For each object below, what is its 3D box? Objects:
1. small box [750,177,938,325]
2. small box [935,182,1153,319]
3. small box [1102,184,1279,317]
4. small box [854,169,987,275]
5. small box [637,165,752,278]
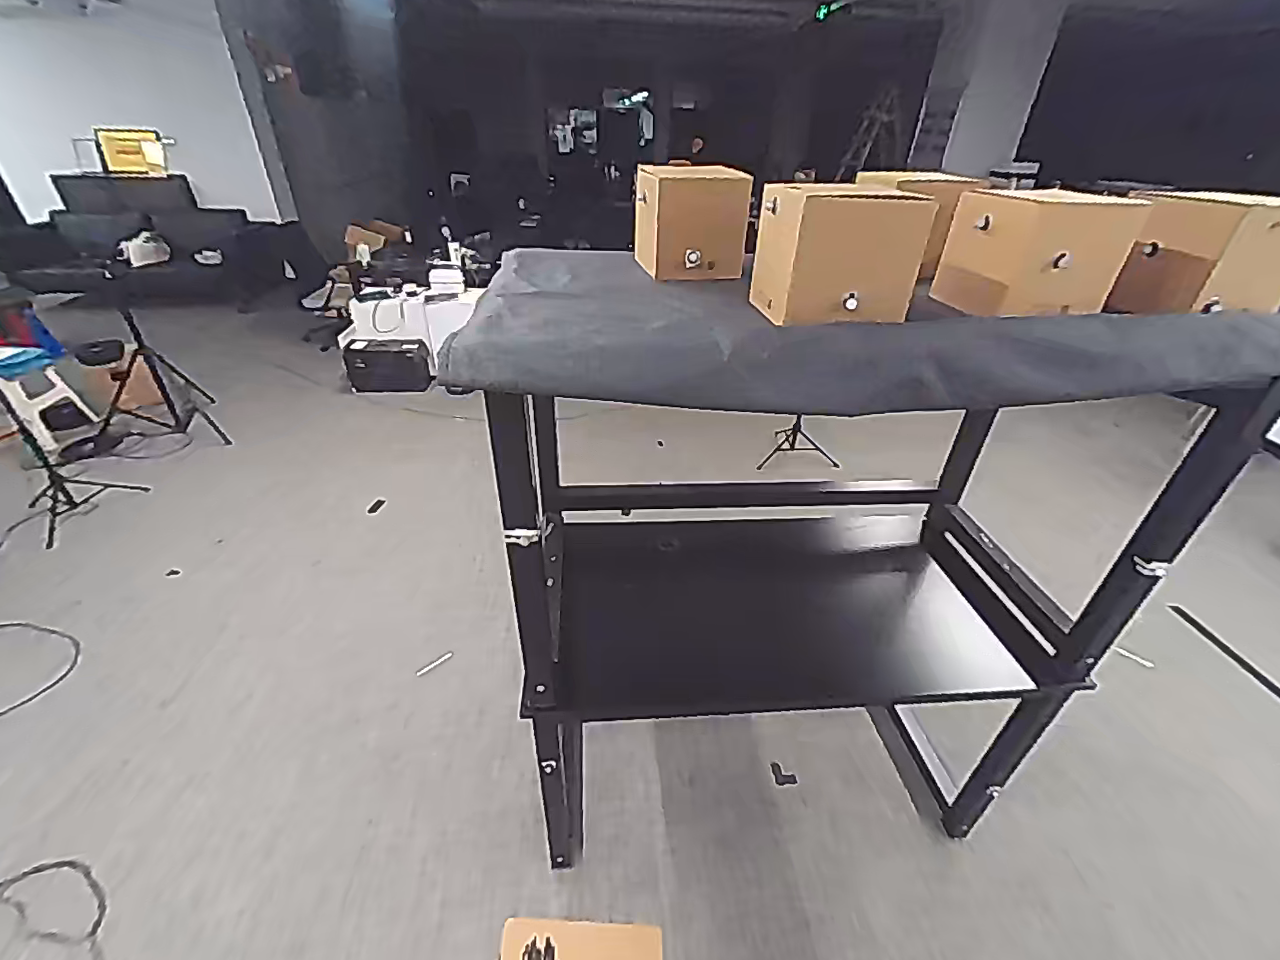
[{"bbox_3d":[0.269,-0.321,0.759,0.179,0.176,0.168,-1,32,-6],"label":"small box"},{"bbox_3d":[0.587,-0.347,0.816,0.168,0.176,0.179,-3,32,-7],"label":"small box"},{"bbox_3d":[0.861,-0.354,0.833,0.168,0.176,0.179,-5,32,-9],"label":"small box"},{"bbox_3d":[0.517,-0.501,1.049,0.179,0.176,0.168,-2,34,-5],"label":"small box"},{"bbox_3d":[0.088,-0.476,0.992,0.168,0.176,0.179,-6,34,-10],"label":"small box"}]
